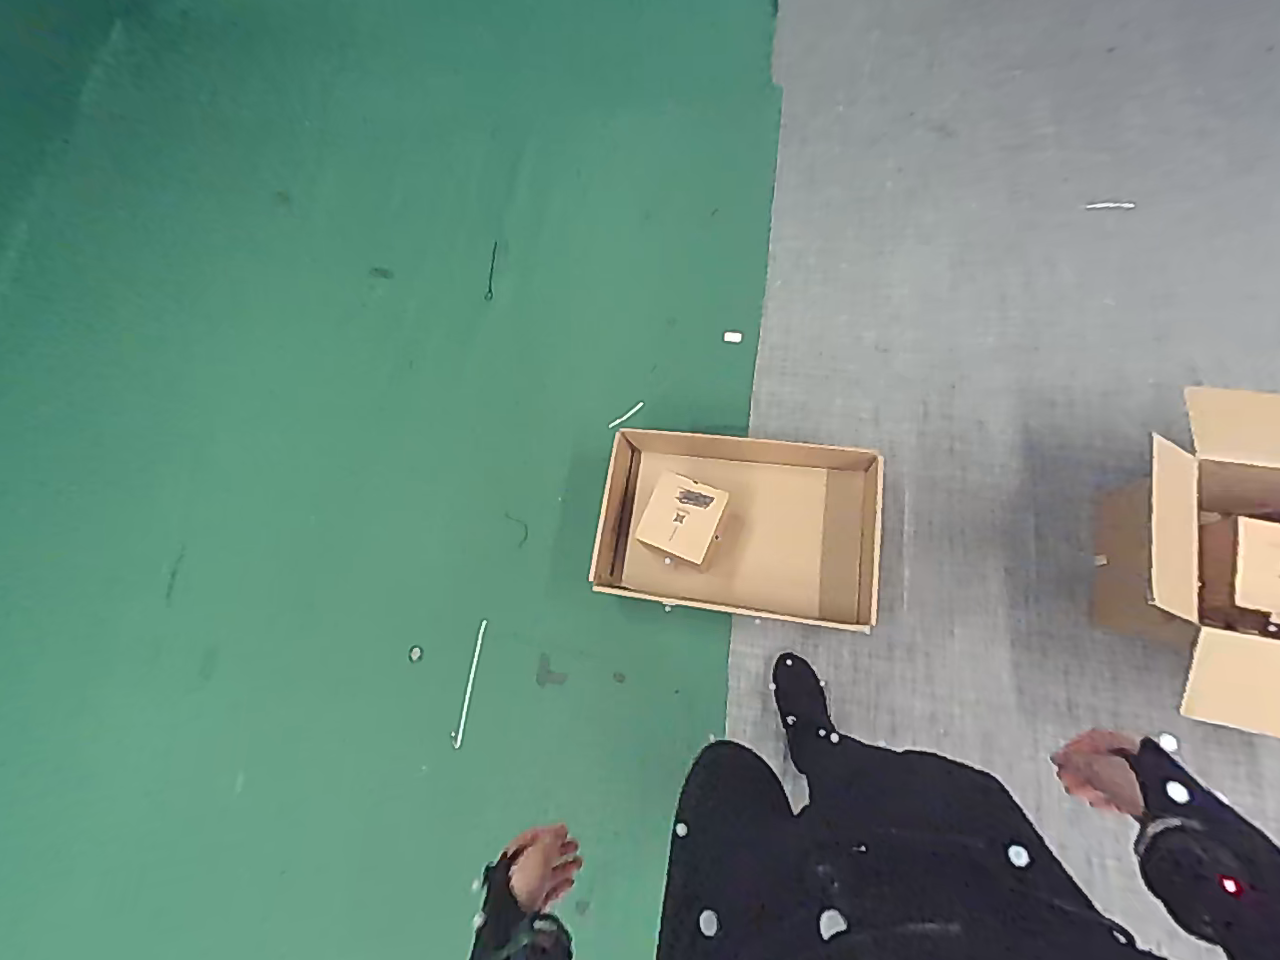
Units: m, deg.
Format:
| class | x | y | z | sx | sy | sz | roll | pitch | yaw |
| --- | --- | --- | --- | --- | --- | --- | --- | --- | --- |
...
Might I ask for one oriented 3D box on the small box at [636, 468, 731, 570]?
| class | x | y | z | sx | sy | sz | roll | pitch | yaw |
| --- | --- | --- | --- | --- | --- | --- | --- | --- | --- |
| small box | 0.107 | 0.098 | 1.285 | 0.168 | 0.176 | 0.179 | 21 | 79 | 15 |
